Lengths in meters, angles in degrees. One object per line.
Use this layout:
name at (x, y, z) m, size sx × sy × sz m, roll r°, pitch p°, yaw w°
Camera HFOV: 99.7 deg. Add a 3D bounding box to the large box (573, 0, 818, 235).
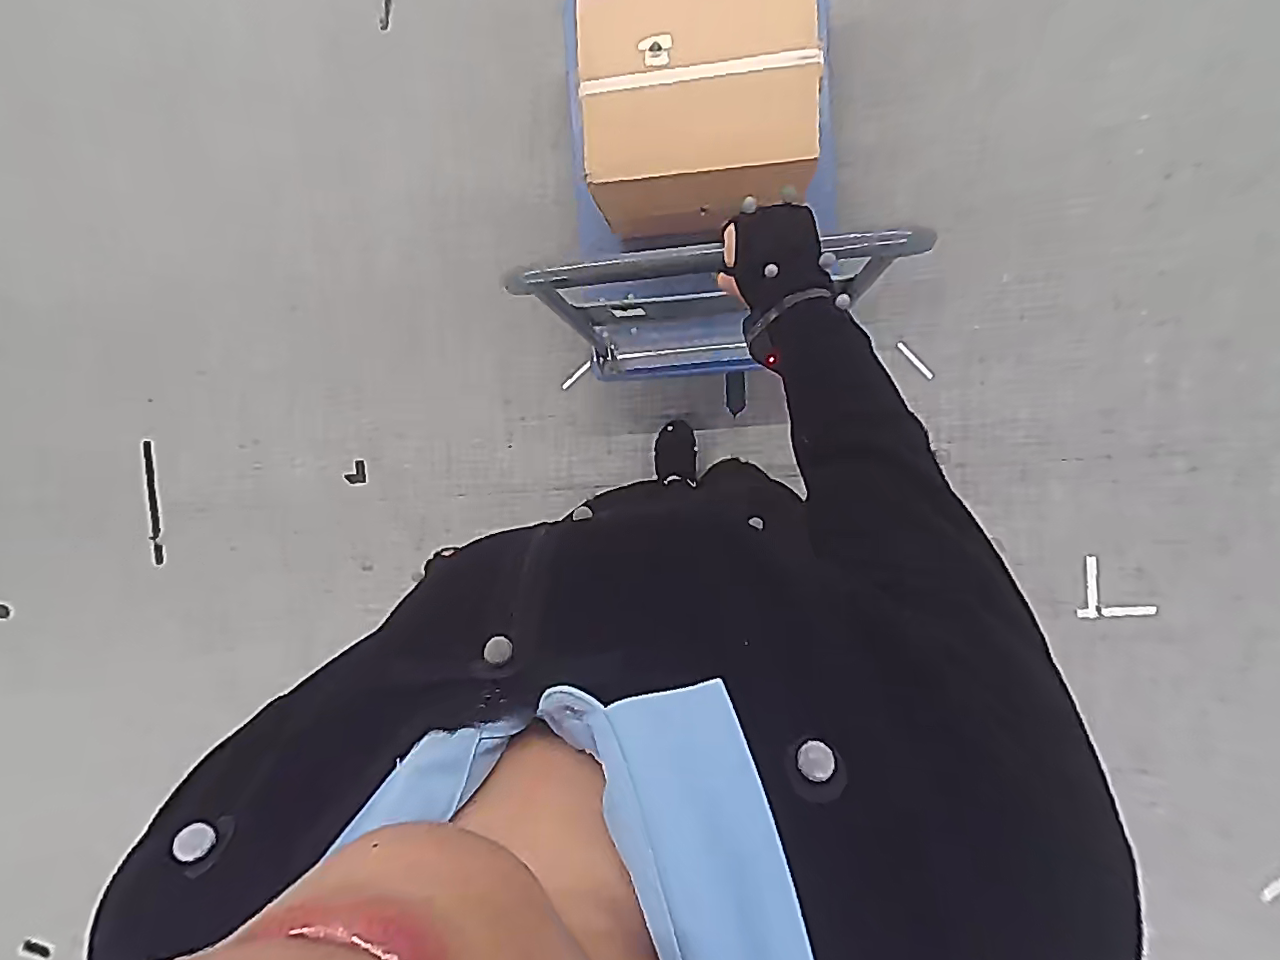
large box at (0.114, -0.703, 1.054) m, size 0.408 × 0.320 × 0.320 m, roll -2°, pitch 95°, yaw 10°
